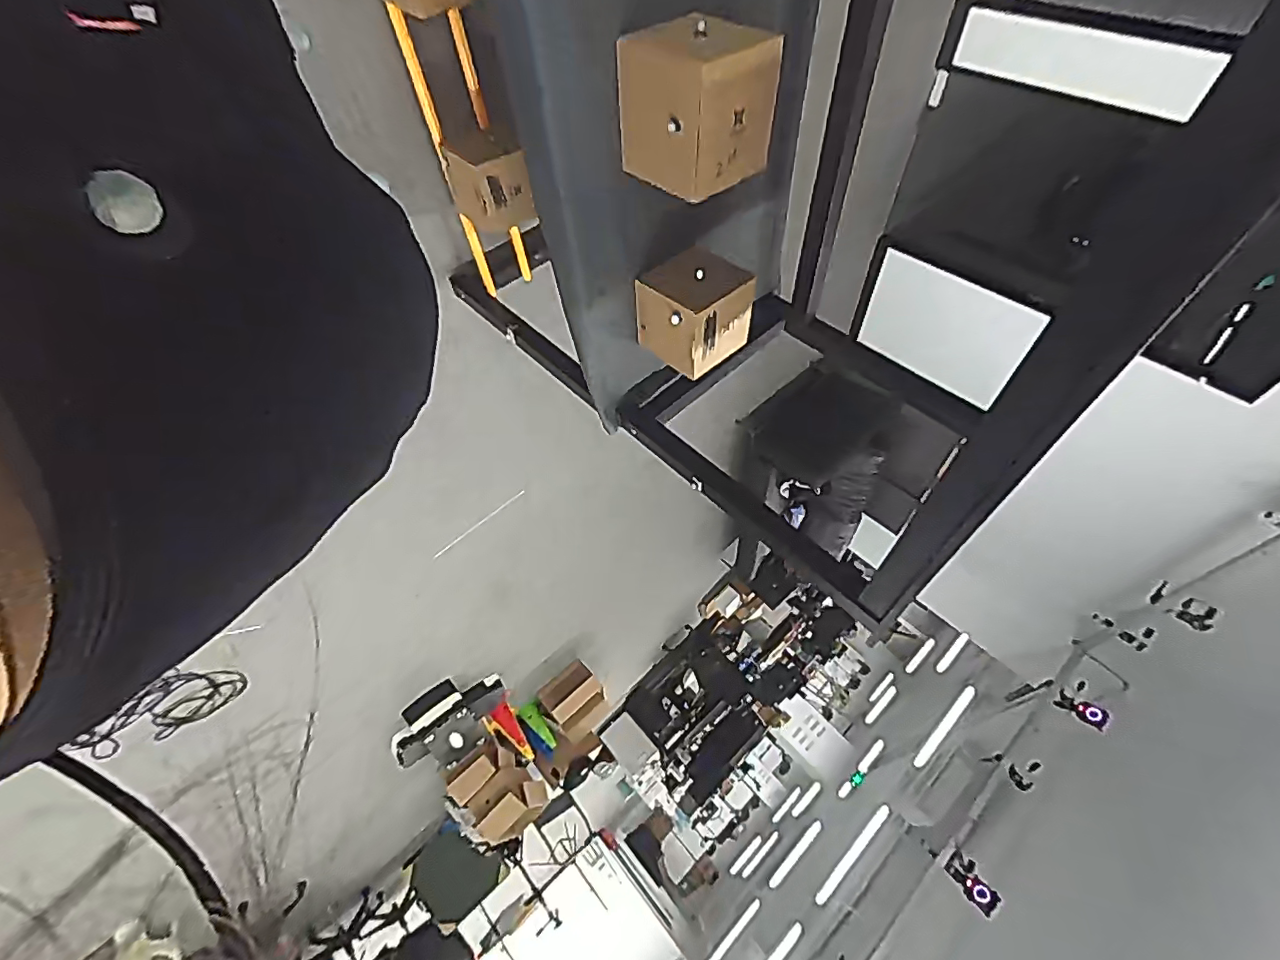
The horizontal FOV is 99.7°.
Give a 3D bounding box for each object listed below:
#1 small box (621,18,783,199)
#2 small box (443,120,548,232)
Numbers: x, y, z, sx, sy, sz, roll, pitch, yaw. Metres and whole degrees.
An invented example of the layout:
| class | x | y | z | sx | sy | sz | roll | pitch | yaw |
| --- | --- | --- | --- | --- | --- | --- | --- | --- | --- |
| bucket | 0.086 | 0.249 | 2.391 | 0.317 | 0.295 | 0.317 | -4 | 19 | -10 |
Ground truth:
| class | x | y | z | sx | sy | sz | roll | pitch | yaw |
| --- | --- | --- | --- | --- | --- | --- | --- | --- | --- |
| small box | 0.084 | -0.562 | 0.812 | 0.168 | 0.176 | 0.179 | -37 | 151 | -23 |
| small box | -0.353 | -0.740 | 1.312 | 0.179 | 0.176 | 0.168 | -36 | 151 | -23 |
